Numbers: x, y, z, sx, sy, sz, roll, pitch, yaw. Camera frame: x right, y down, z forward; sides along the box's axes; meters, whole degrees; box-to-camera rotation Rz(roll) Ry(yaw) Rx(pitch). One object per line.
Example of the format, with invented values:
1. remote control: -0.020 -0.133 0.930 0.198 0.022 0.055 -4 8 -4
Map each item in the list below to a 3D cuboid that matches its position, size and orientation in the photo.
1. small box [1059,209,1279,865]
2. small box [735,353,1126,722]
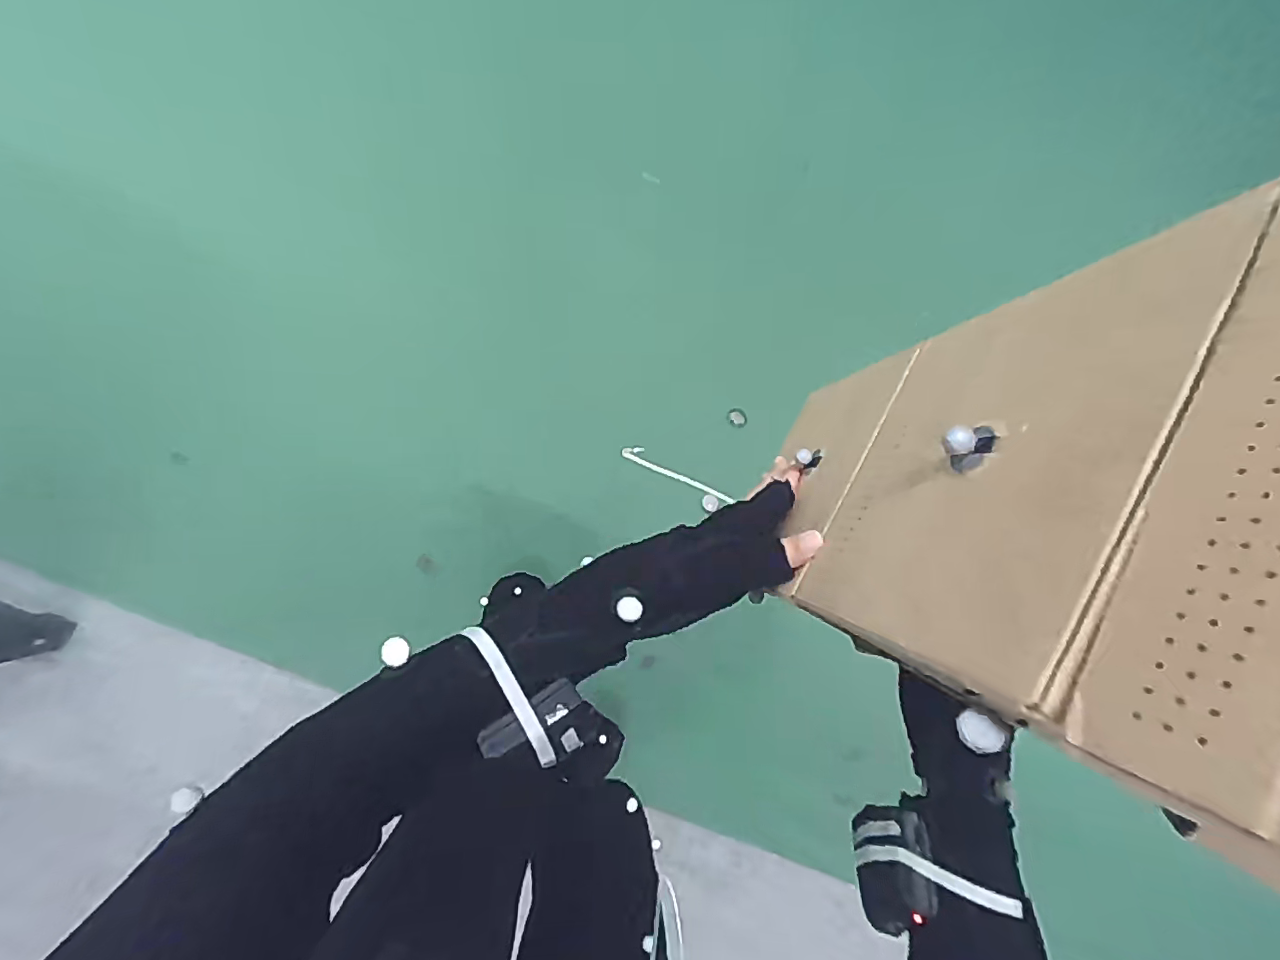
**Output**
1. small box: 0.224 0.025 0.085 0.168 0.176 0.179 27 86 -5
2. small box: 0.189 0.038 0.410 0.168 0.176 0.179 29 86 -4
